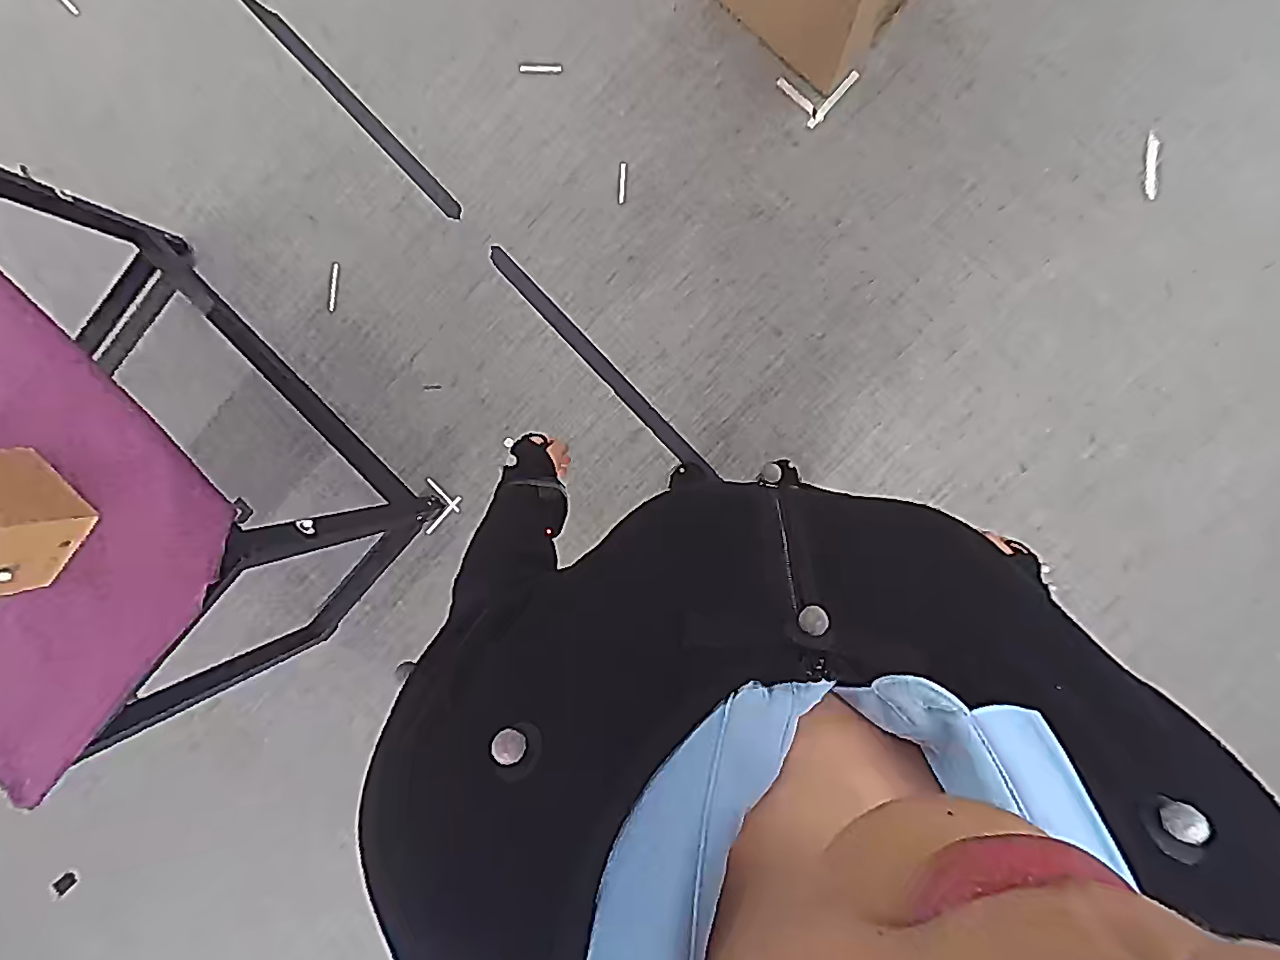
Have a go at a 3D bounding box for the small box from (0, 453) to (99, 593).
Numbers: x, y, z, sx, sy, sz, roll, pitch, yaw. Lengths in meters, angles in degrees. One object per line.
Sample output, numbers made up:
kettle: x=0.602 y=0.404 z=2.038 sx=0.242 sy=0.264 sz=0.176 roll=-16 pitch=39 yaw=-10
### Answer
small box: x=-1.022 y=0.067 z=0.843 sx=0.179 sy=0.176 sz=0.168 roll=42 pitch=97 yaw=4
